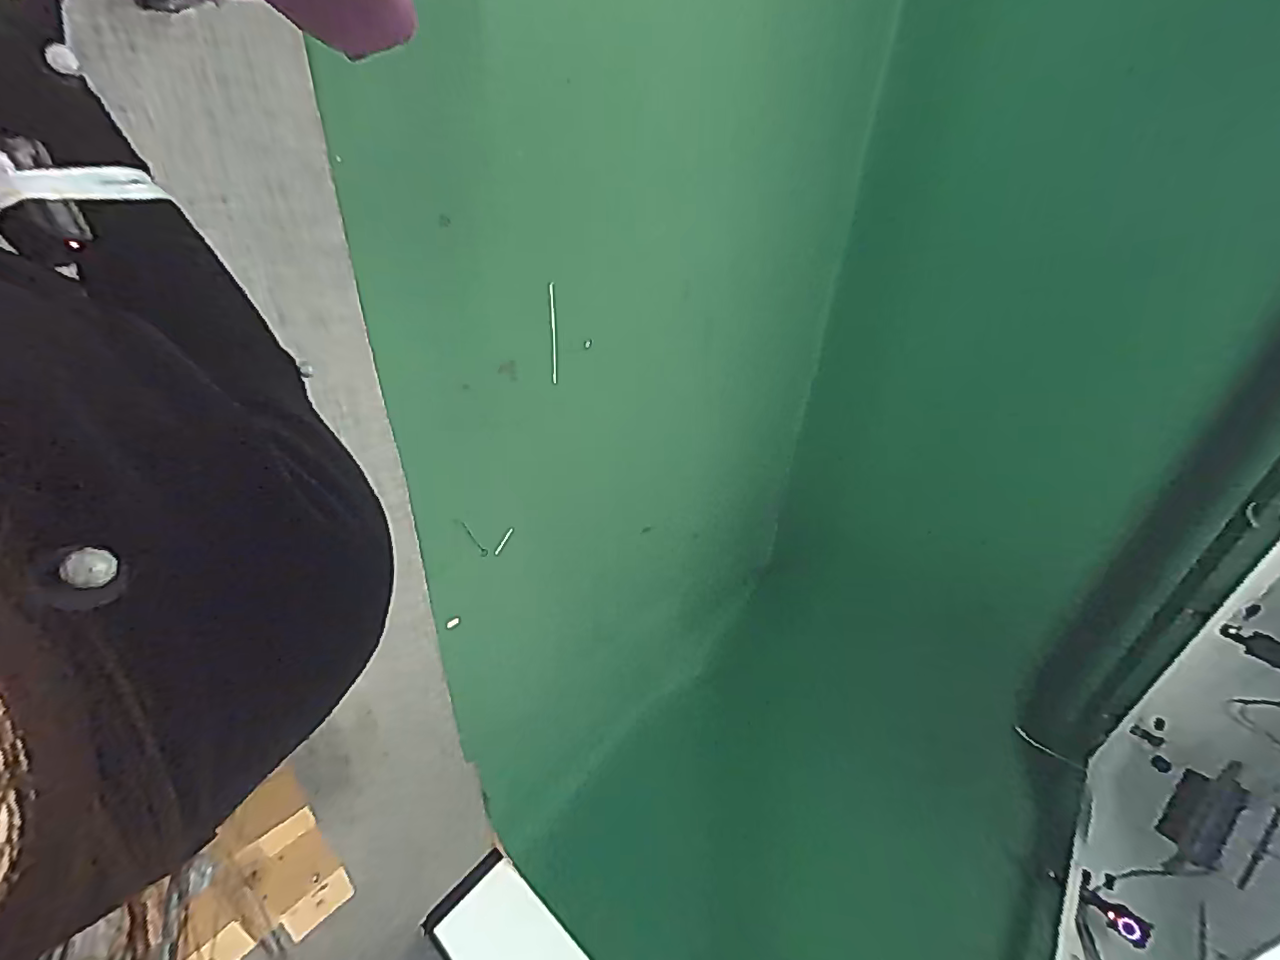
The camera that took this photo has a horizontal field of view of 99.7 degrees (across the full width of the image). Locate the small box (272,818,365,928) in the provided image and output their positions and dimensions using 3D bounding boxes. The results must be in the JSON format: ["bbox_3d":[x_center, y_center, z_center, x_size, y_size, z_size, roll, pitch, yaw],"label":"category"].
[{"bbox_3d":[-0.938,1.142,1.582,0.168,0.176,0.179,-29,137,-42],"label":"small box"}]

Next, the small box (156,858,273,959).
[{"bbox_3d":[-1.076,1.118,1.364,0.179,0.176,0.168,-31,137,-40],"label":"small box"}]
